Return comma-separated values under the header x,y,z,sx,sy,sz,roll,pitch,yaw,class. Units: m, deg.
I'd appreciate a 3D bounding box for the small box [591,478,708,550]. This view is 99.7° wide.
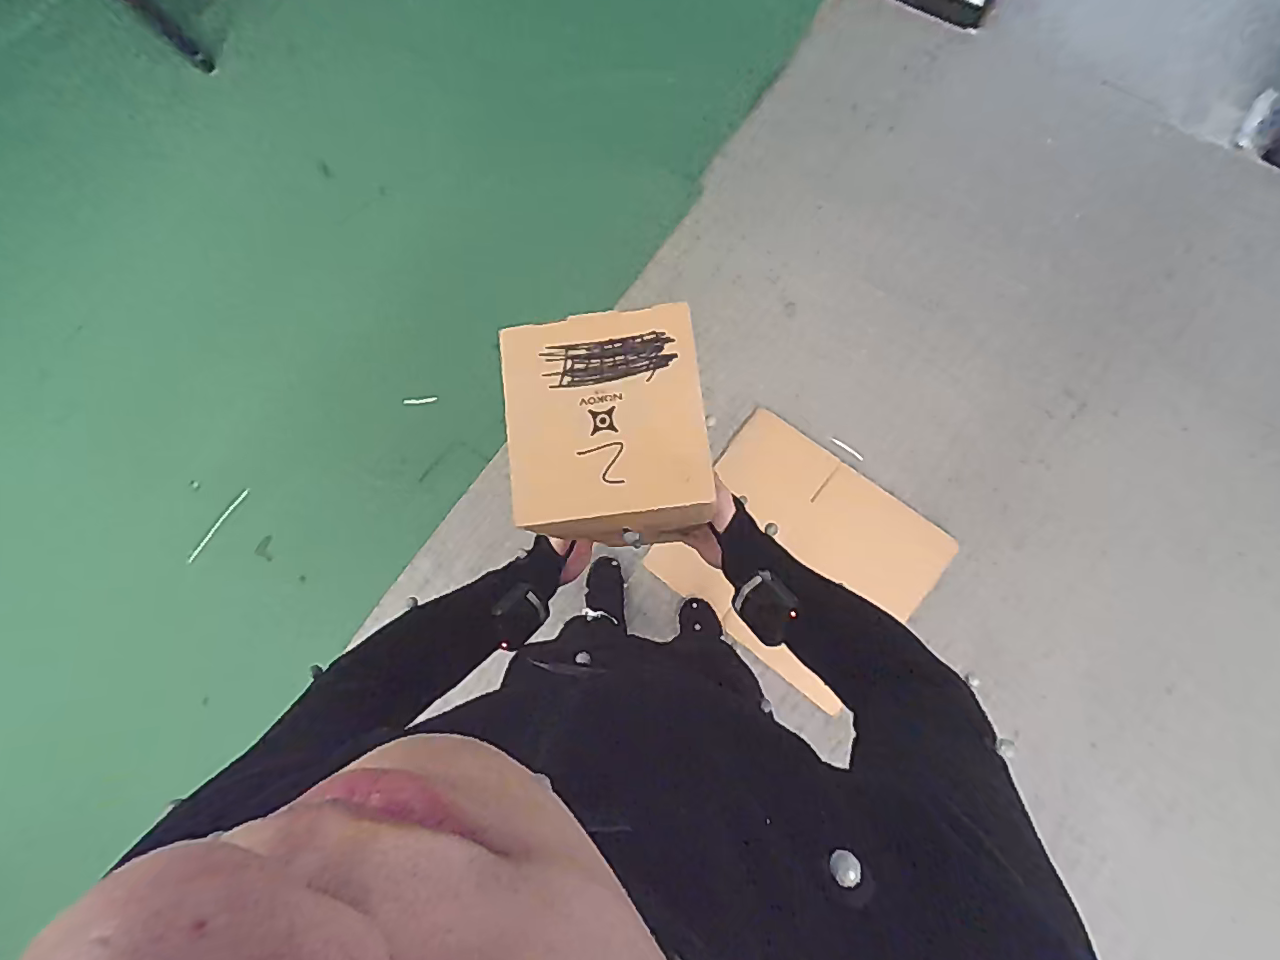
x,y,z,sx,sy,sz,roll,pitch,yaw,class
0.015,0.011,0.842,0.168,0.176,0.179,-6,79,6,small box

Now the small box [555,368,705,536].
x,y,z,sx,sy,sz,roll,pitch,yaw,class
-0.005,-0.022,0.681,0.168,0.176,0.179,-5,79,5,small box
